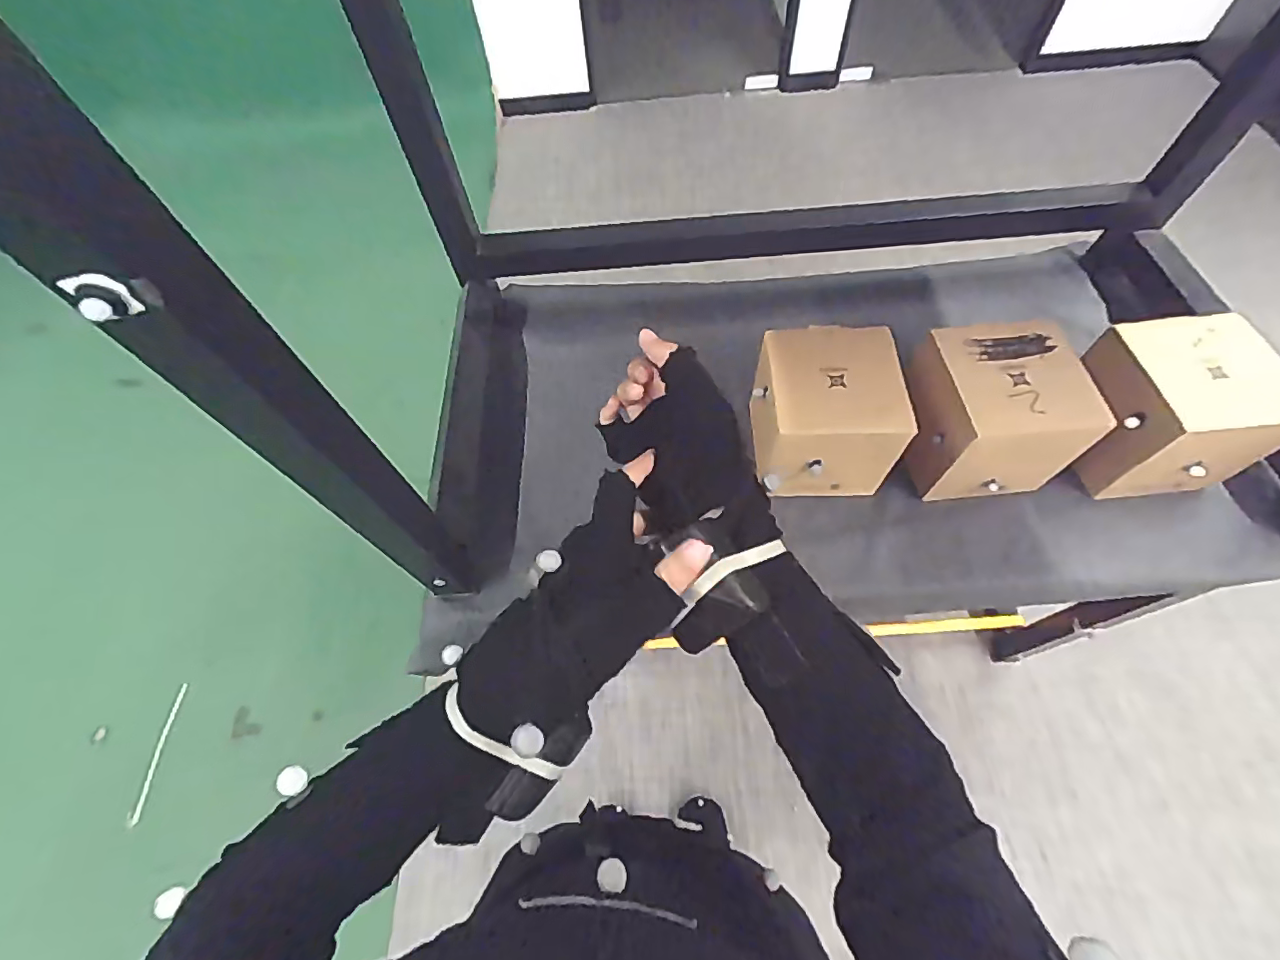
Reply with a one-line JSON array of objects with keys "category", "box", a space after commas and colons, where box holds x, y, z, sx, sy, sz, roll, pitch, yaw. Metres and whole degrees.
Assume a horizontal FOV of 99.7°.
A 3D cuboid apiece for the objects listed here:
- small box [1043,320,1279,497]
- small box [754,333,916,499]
[{"category": "small box", "box": [0.705, -0.087, 0.731, 0.168, 0.176, 0.179, -5, 60, 0]}, {"category": "small box", "box": [0.258, -0.083, 0.762, 0.168, 0.176, 0.179, -1, 60, 3]}]
